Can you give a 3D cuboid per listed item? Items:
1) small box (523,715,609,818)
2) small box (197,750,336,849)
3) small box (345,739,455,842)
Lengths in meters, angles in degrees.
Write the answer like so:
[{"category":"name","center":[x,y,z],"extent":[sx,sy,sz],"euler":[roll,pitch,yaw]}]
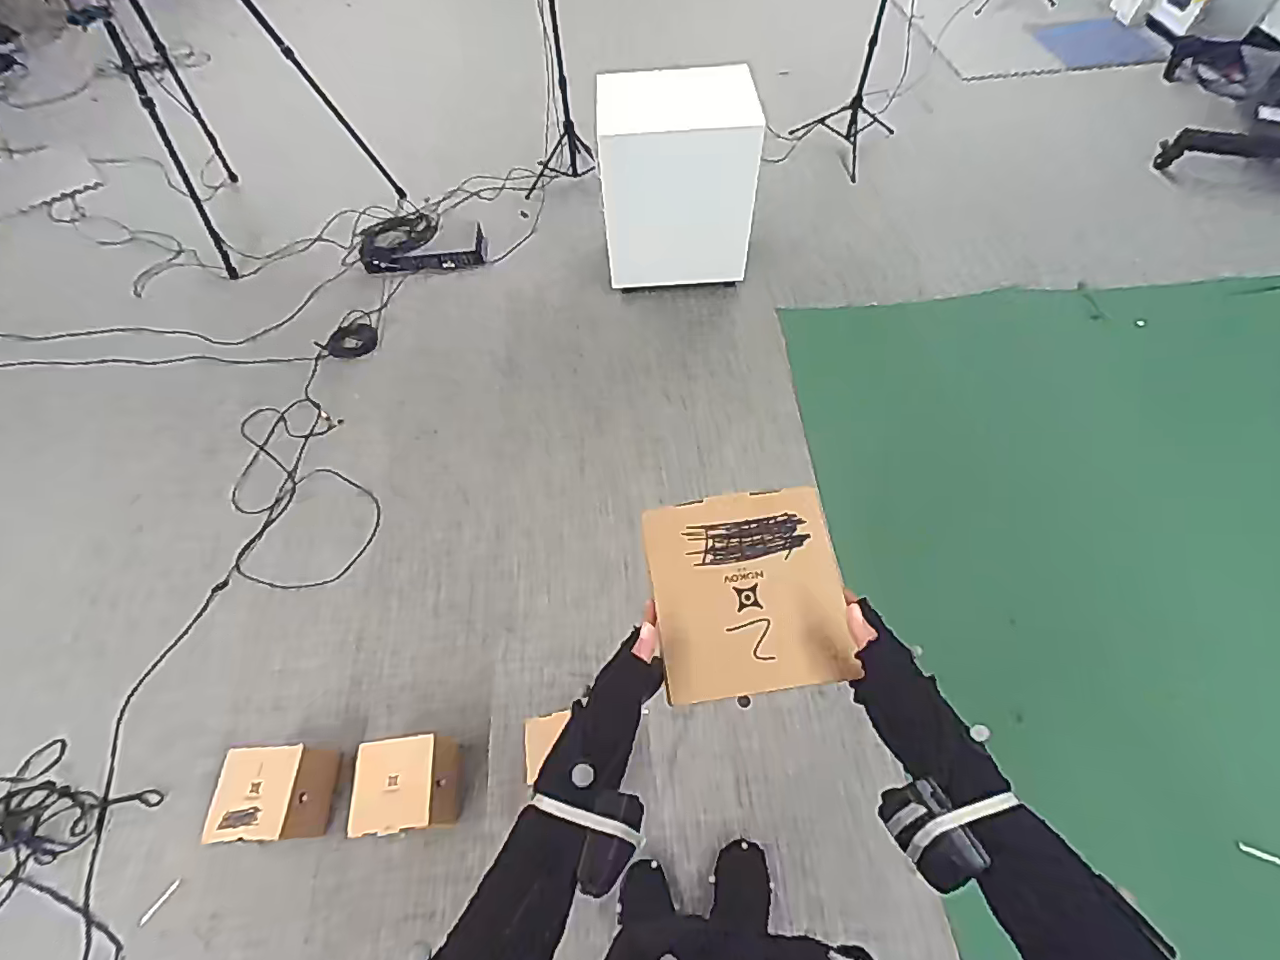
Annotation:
[{"category":"small box","center":[-0.162,0.642,1.211],"extent":[0.168,0.176,0.179],"euler":[-8,58,-4]},{"category":"small box","center":[-0.809,0.705,1.196],"extent":[0.168,0.176,0.179],"euler":[-2,57,1]},{"category":"small box","center":[-0.519,0.688,1.197],"extent":[0.168,0.176,0.179],"euler":[-7,59,-2]}]
